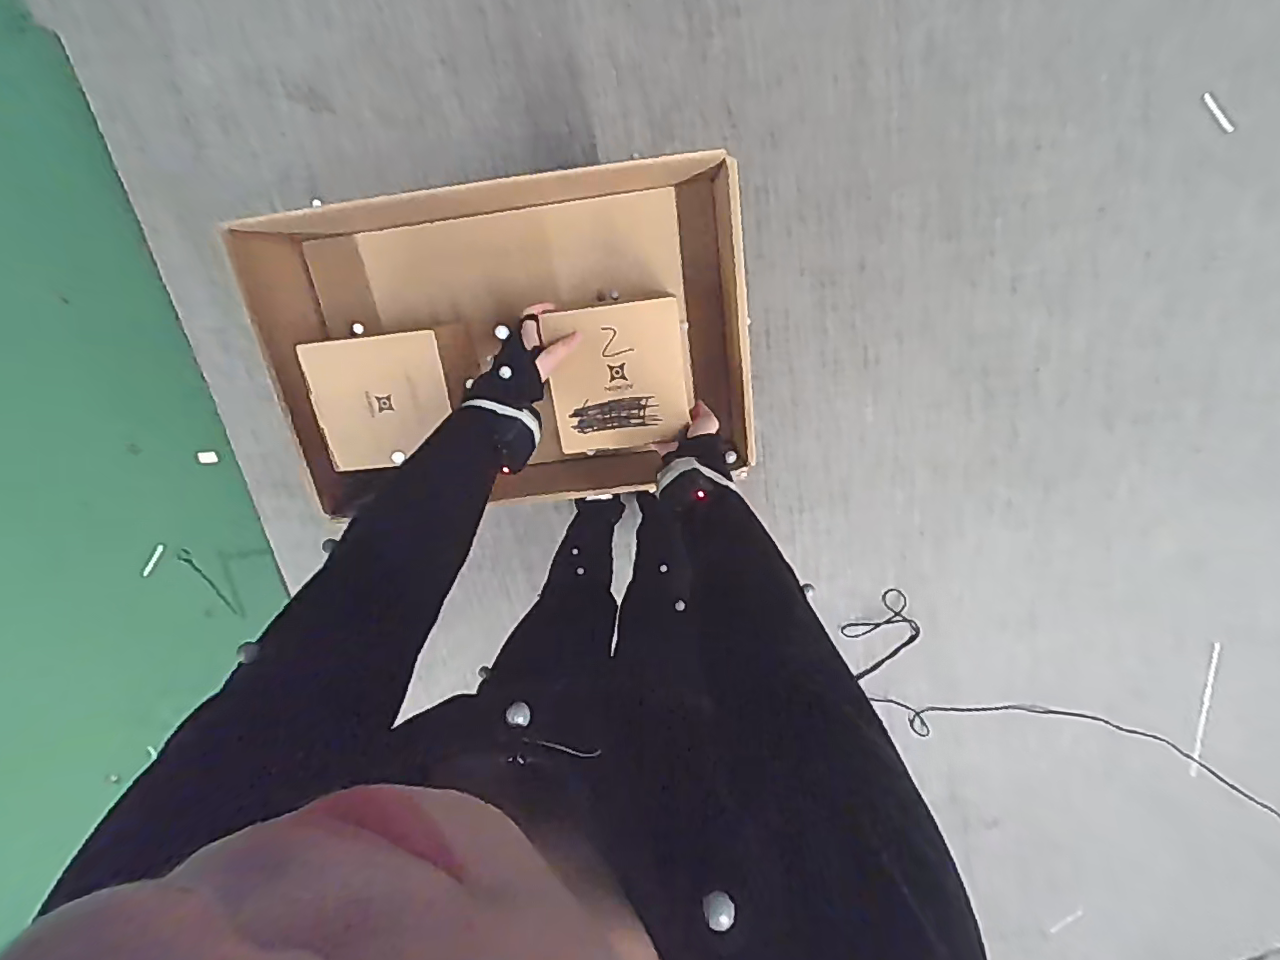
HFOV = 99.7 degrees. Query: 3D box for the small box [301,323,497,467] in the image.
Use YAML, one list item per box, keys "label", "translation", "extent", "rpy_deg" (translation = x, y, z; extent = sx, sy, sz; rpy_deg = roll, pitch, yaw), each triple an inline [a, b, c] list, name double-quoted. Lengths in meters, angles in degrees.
- label: "small box"
  translation: [-0.317, -0.124, 0.750]
  extent: [0.179, 0.176, 0.168]
  rpy_deg: [-5, 109, 3]
